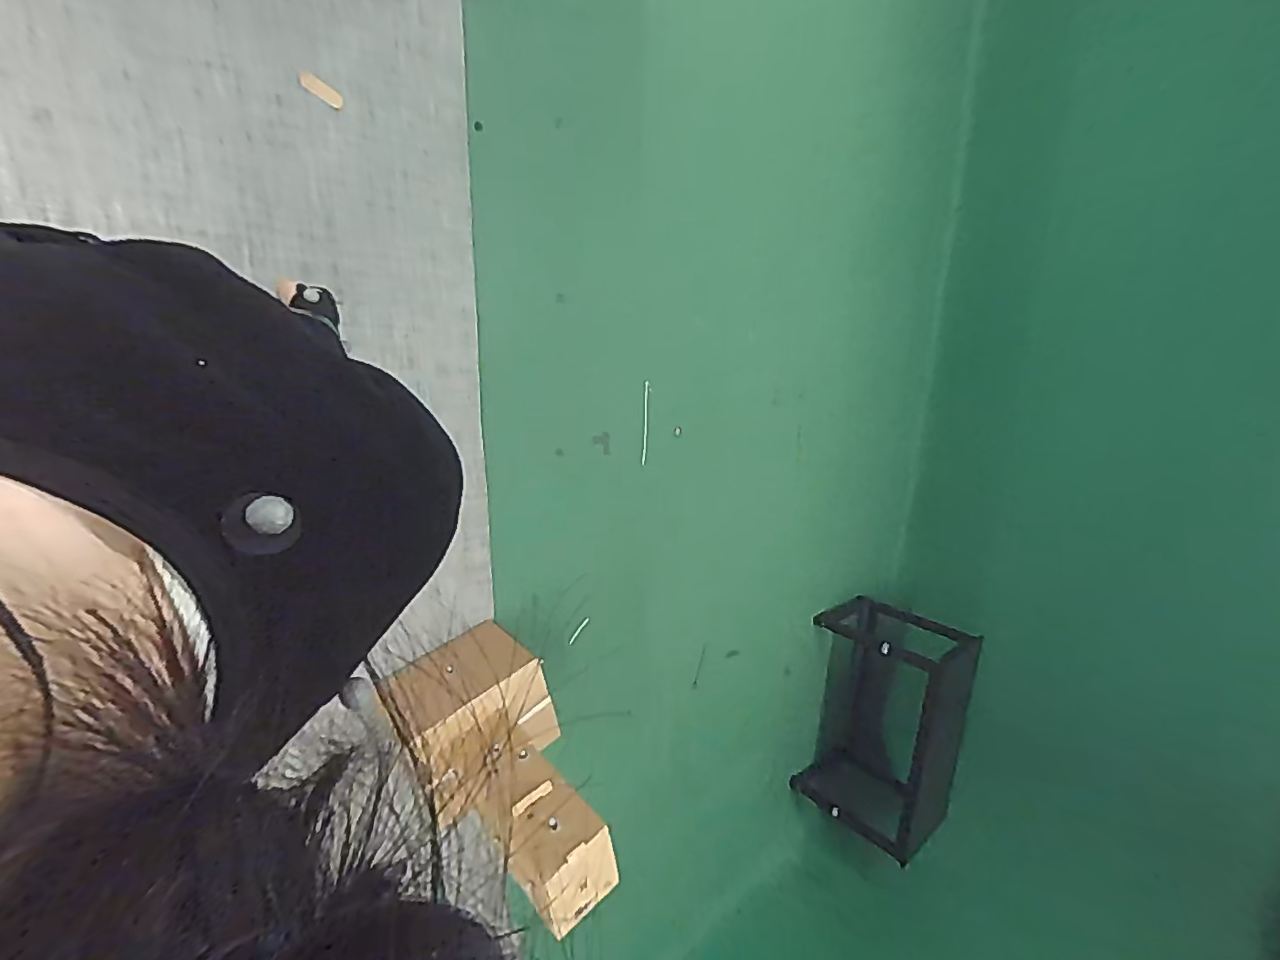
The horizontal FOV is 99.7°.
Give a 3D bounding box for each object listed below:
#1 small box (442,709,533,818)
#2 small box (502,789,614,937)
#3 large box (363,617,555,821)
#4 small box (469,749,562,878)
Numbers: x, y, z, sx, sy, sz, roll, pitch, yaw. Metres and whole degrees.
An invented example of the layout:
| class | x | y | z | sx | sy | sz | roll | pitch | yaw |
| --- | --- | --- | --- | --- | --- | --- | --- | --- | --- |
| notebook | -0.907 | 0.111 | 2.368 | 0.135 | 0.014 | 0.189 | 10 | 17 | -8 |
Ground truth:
| class | x | y | z | sx | sy | sz | roll | pitch | yaw |
| --- | --- | --- | --- | --- | --- | --- | --- | --- | --- |
| small box | -0.391 | 0.743 | 1.420 | 0.179 | 0.176 | 0.168 | -23 | 115 | -35 |
| small box | -0.181 | 0.816 | 1.179 | 0.168 | 0.176 | 0.179 | -22 | 114 | -36 |
| large box | -0.531 | 0.683 | 1.614 | 0.408 | 0.320 | 0.320 | -27 | 120 | -35 |
| small box | -0.292 | 0.783 | 1.296 | 0.168 | 0.176 | 0.179 | -21 | 114 | -36 |
